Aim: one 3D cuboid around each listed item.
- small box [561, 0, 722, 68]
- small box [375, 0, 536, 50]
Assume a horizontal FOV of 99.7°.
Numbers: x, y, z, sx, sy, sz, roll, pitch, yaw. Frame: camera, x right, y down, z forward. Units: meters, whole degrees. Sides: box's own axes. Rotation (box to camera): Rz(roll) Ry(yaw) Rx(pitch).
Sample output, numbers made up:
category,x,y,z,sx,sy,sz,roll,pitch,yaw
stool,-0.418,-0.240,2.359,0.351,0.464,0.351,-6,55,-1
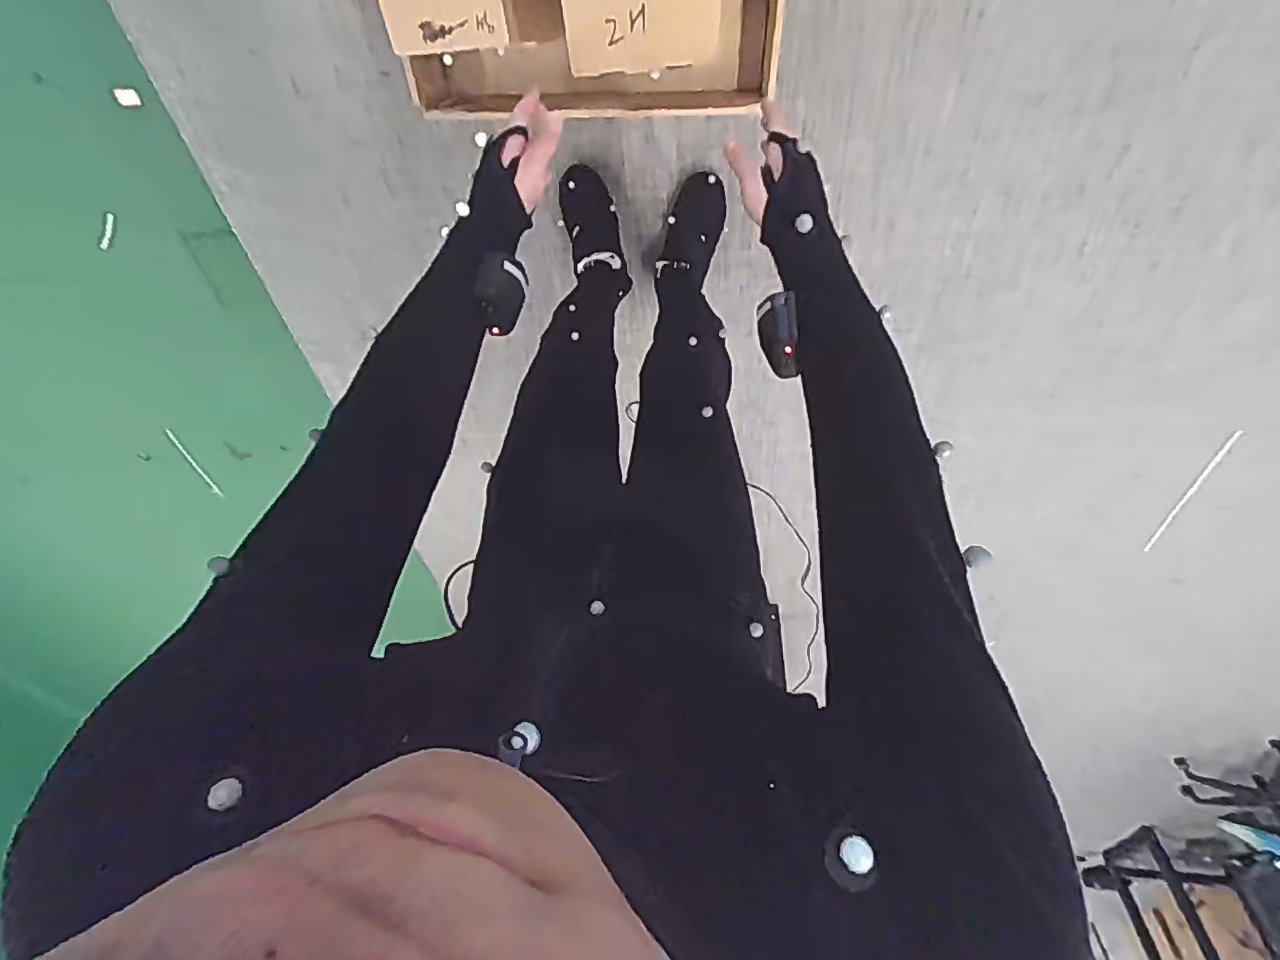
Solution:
category,x,y,z,sx,sy,sz,roll,pitch,yaw
small box,0.006,-0.562,0.579,0.168,0.176,0.179,1,132,8
small box,-0.250,-0.690,0.721,0.168,0.176,0.179,2,131,8
